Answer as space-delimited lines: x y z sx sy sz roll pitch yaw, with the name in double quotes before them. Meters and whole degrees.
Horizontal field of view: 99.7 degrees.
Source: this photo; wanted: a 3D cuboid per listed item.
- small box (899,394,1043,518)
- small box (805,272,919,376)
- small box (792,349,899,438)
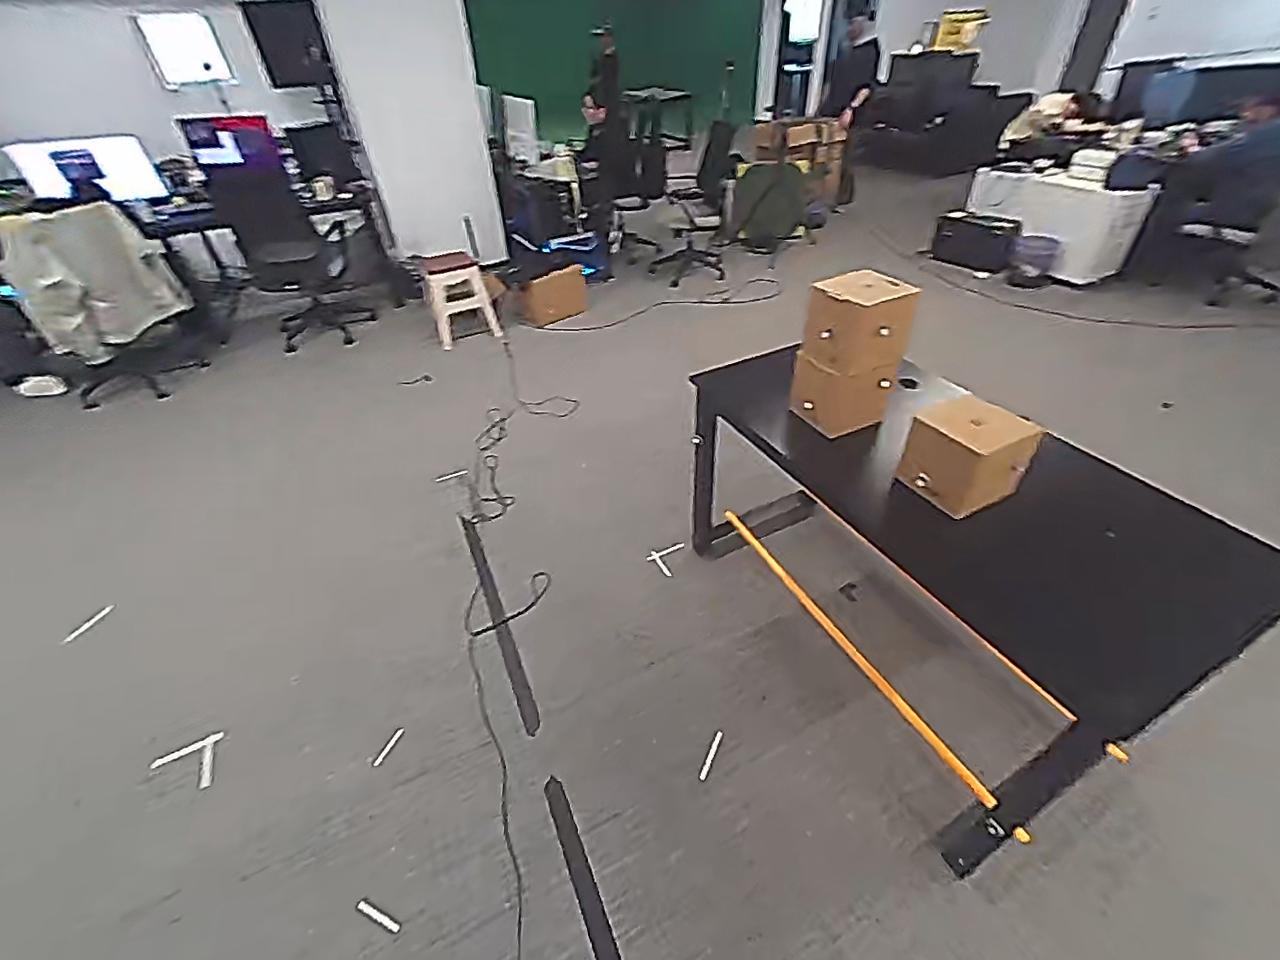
"small box" 0.677 -0.051 1.129 0.179 0.176 0.168 -21 41 -19
"small box" 0.505 -0.362 1.258 0.179 0.176 0.168 -21 43 -19
"small box" 0.506 -0.232 1.358 0.179 0.176 0.168 -19 42 -17
